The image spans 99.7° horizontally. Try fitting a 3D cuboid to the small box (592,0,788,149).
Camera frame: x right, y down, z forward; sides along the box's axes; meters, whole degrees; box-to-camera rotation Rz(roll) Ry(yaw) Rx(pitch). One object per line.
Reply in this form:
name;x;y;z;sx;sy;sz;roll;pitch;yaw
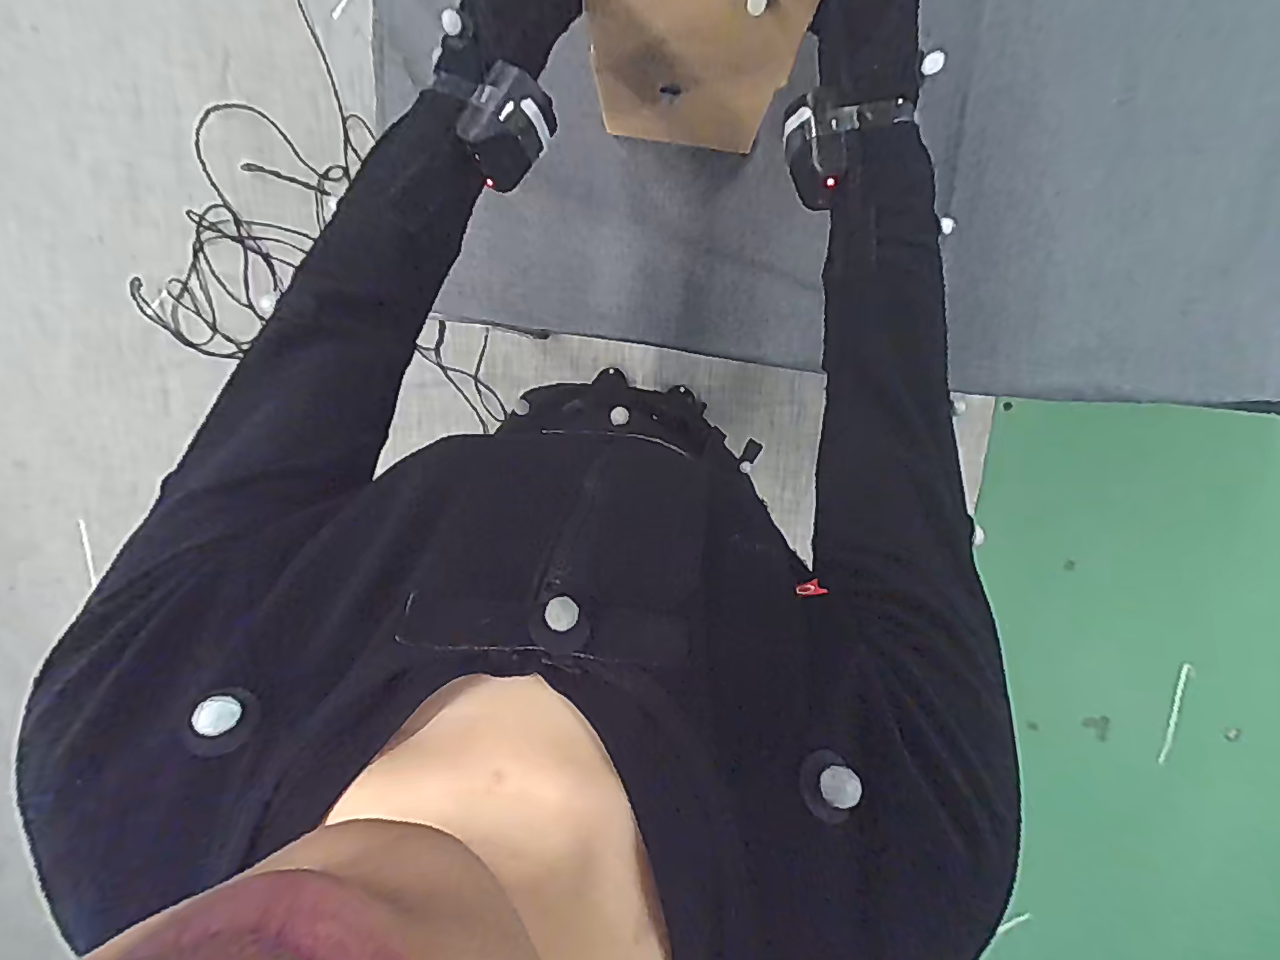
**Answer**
small box;0.054;-0.477;0.569;0.179;0.176;0.168;8;101;-1
